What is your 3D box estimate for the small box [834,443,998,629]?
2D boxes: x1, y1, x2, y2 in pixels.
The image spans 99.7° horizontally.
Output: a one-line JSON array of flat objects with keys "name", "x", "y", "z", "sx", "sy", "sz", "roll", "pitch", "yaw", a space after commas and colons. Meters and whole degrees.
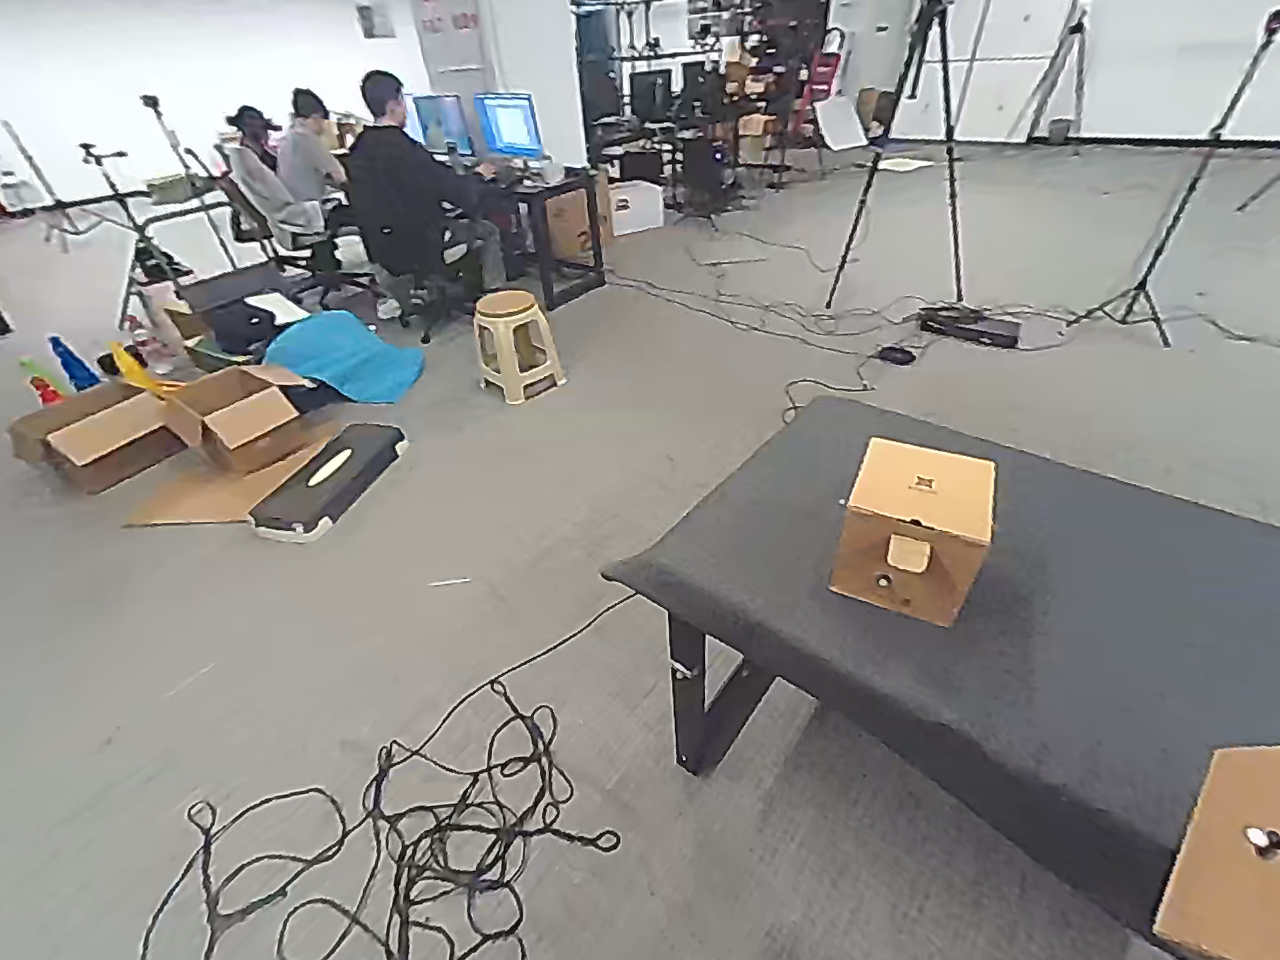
[{"name": "small box", "x": 0.389, "y": 0.076, "z": 0.775, "sx": 0.168, "sy": 0.176, "sz": 0.179, "roll": 16, "pitch": 43, "yaw": 23}]
